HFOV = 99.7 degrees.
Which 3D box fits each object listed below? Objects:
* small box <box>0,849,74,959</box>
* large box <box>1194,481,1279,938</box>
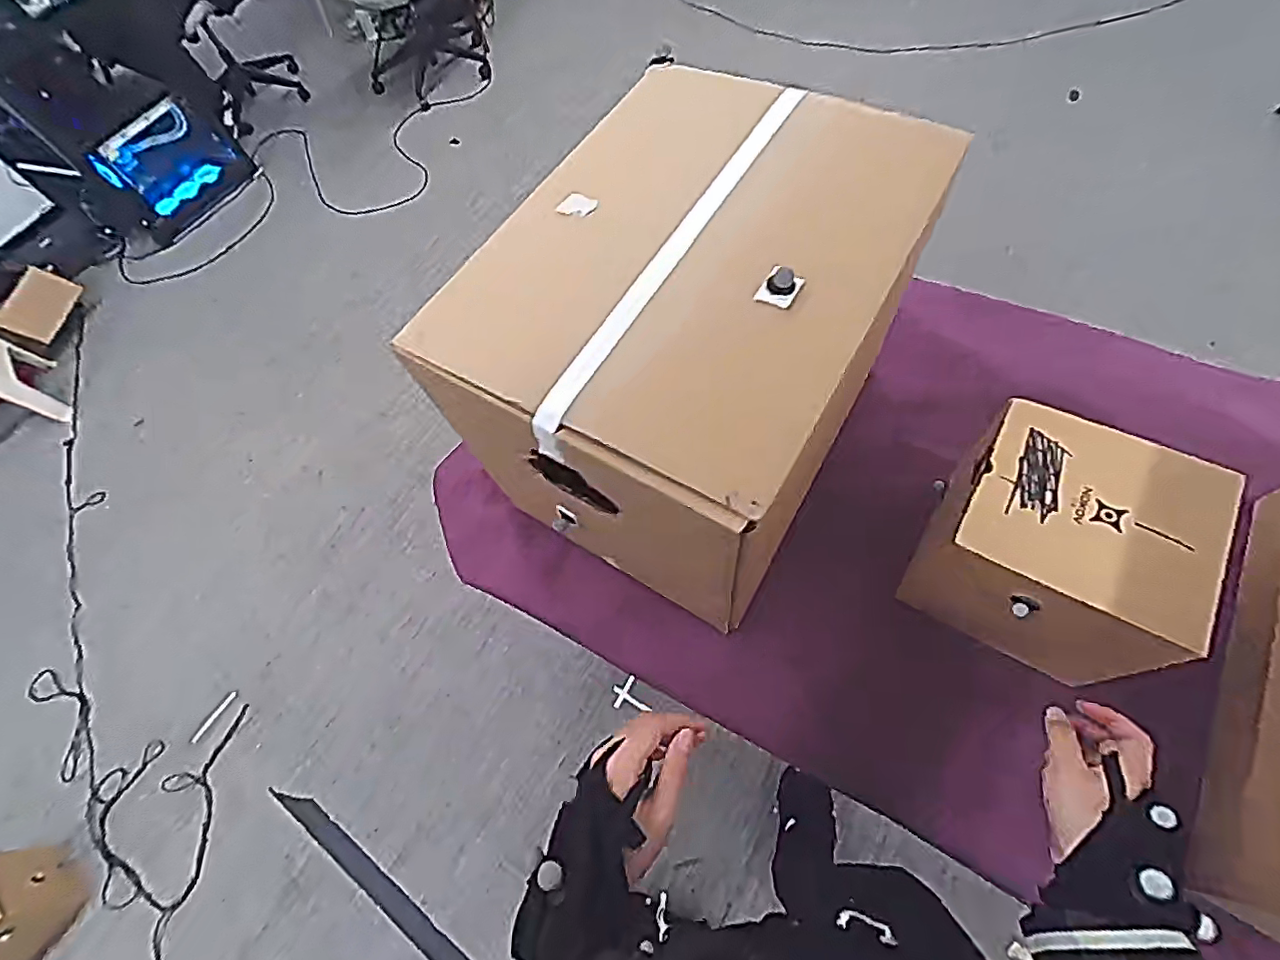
[{"bbox_3d":[-1.370,0.923,1.144,0.168,0.176,0.179,32,72,23],"label":"small box"},{"bbox_3d":[0.649,0.162,0.327,0.320,0.320,0.408,26,68,20],"label":"large box"}]
